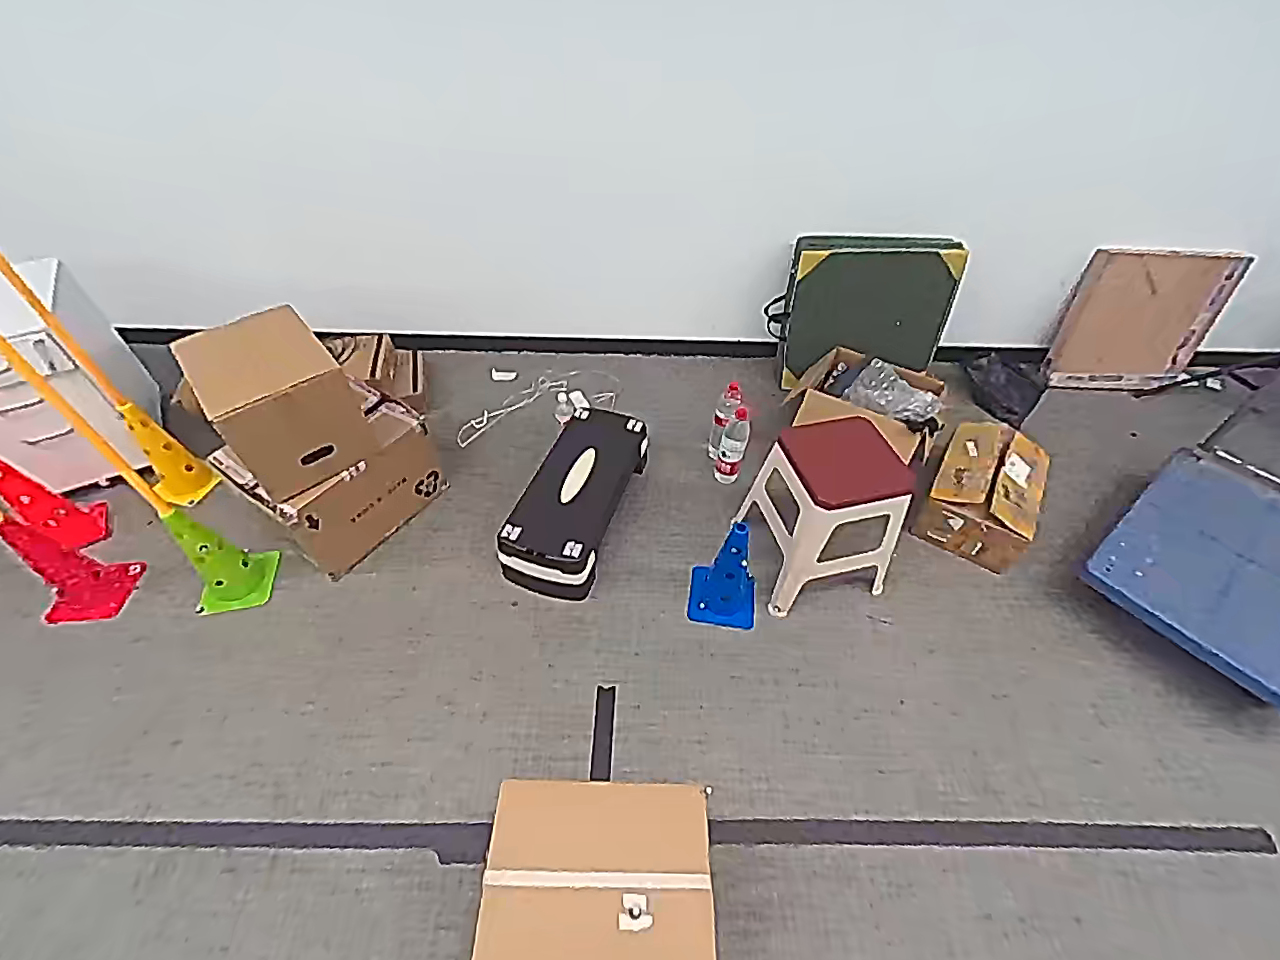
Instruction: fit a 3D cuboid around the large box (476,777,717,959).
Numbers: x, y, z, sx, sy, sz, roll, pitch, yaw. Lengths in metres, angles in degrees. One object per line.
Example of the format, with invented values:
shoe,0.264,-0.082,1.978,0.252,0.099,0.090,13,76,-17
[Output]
large box,-0.079,0.806,1.074,0.408,0.320,0.320,3,48,-1
